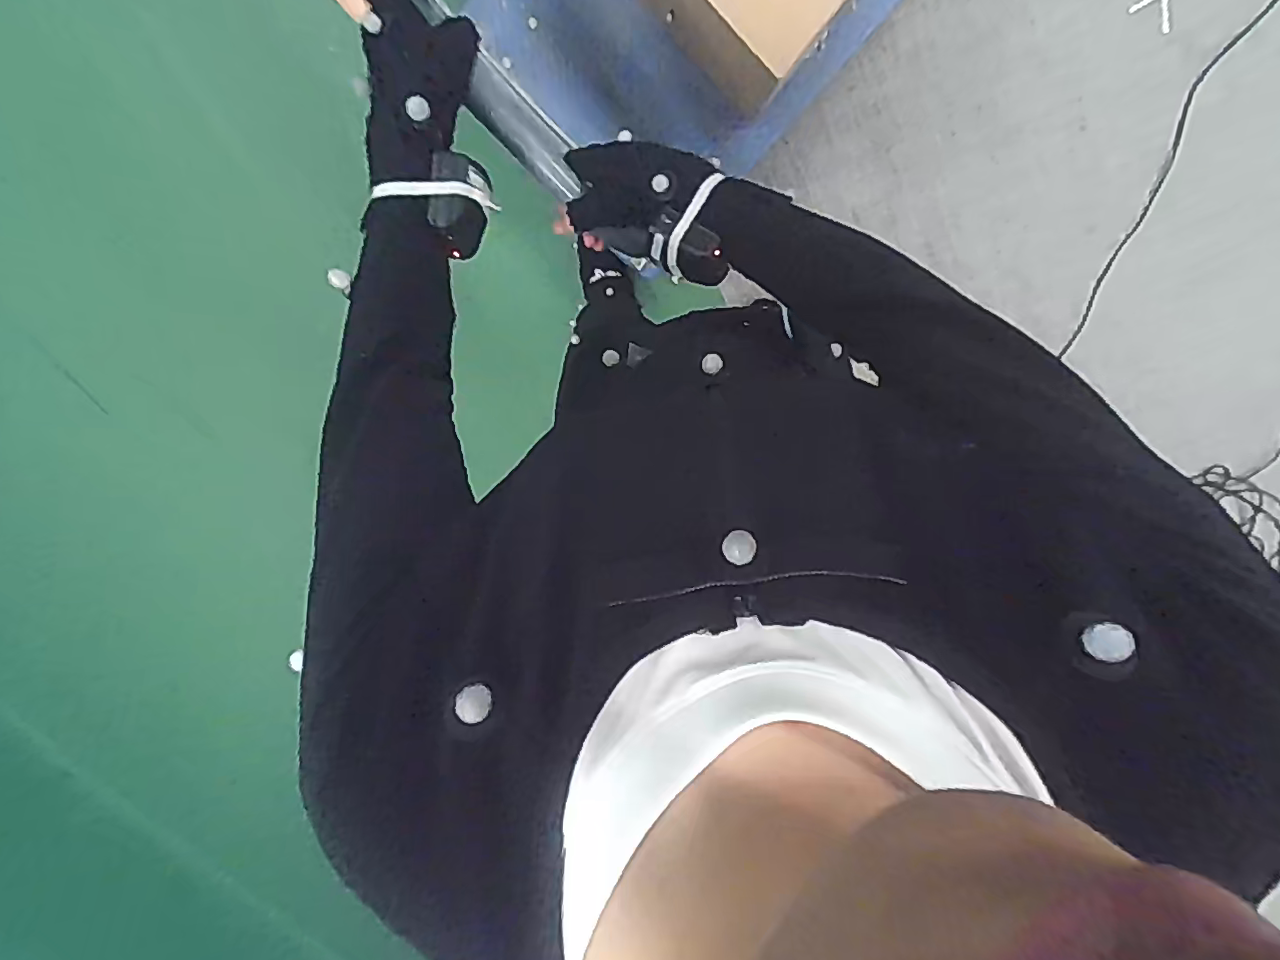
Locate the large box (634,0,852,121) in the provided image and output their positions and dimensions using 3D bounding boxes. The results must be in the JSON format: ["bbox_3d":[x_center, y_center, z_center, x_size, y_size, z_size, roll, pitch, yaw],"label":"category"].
[{"bbox_3d":[0.155,-0.849,0.817,0.408,0.320,0.320,39,110,-12],"label":"large box"}]
